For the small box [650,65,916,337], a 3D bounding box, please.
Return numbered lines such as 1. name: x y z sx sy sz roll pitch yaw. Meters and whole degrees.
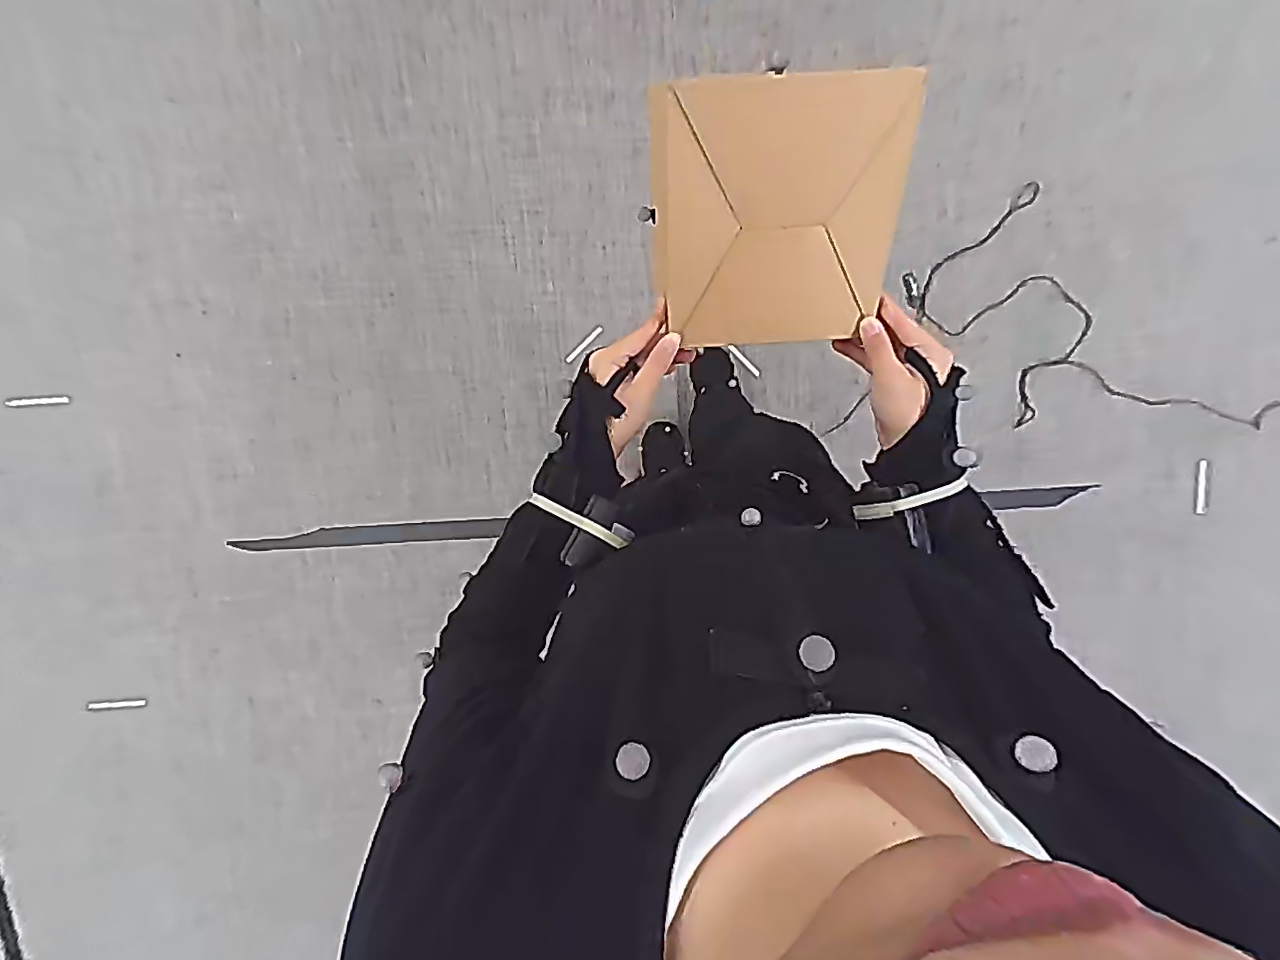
1. small box: 0.097 -0.234 0.454 0.168 0.176 0.179 -4 128 -2
